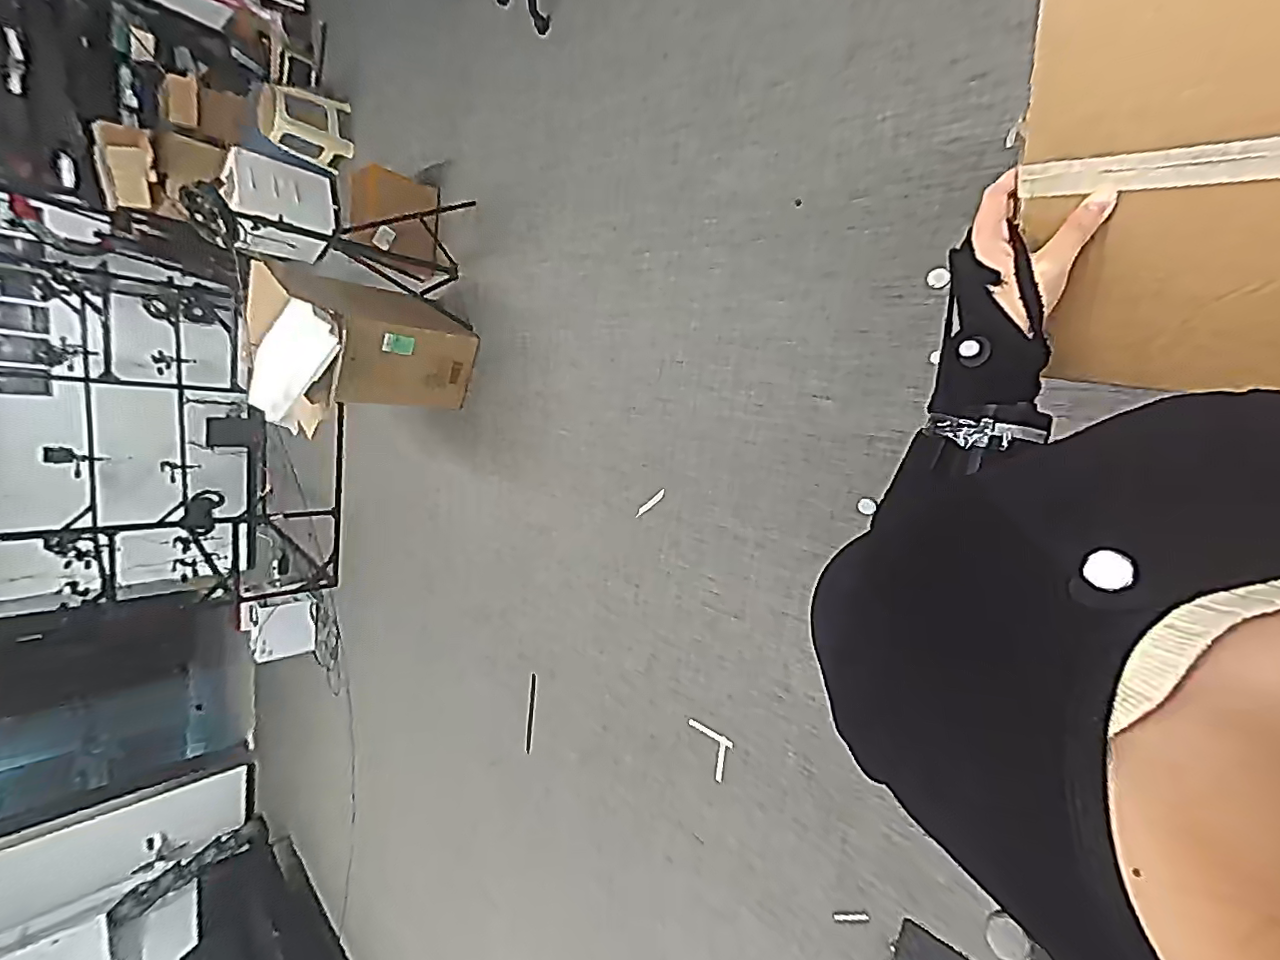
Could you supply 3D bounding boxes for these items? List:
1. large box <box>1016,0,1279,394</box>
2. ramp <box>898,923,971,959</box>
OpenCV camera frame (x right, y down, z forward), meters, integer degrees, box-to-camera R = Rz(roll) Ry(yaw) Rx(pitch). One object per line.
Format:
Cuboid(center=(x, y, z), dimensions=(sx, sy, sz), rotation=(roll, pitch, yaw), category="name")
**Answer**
Cuboid(center=(0.500, -0.253, 0.304), dimensions=(0.408, 0.320, 0.320), rotation=(19, 145, 43), category="large box")
Cuboid(center=(0.746, 1.650, 1.235), dimensions=(0.509, 0.206, 0.991), rotation=(13, 100, 43), category="ramp")
